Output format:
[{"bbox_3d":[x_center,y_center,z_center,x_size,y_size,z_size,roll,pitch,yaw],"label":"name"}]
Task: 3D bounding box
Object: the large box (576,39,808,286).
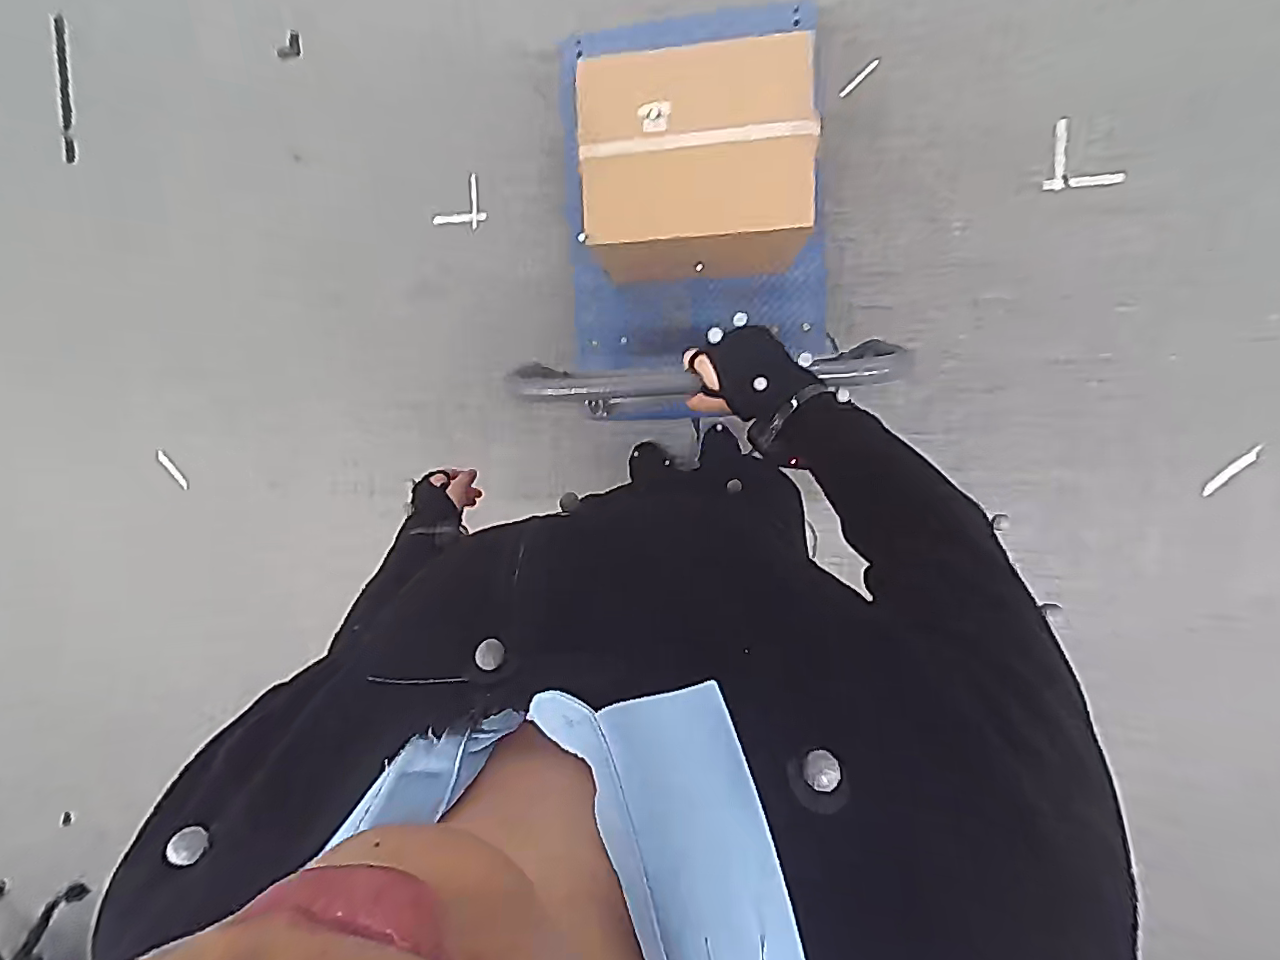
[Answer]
[{"bbox_3d":[0.111,-0.602,1.102,0.408,0.320,0.320,-2,95,8],"label":"large box"}]
